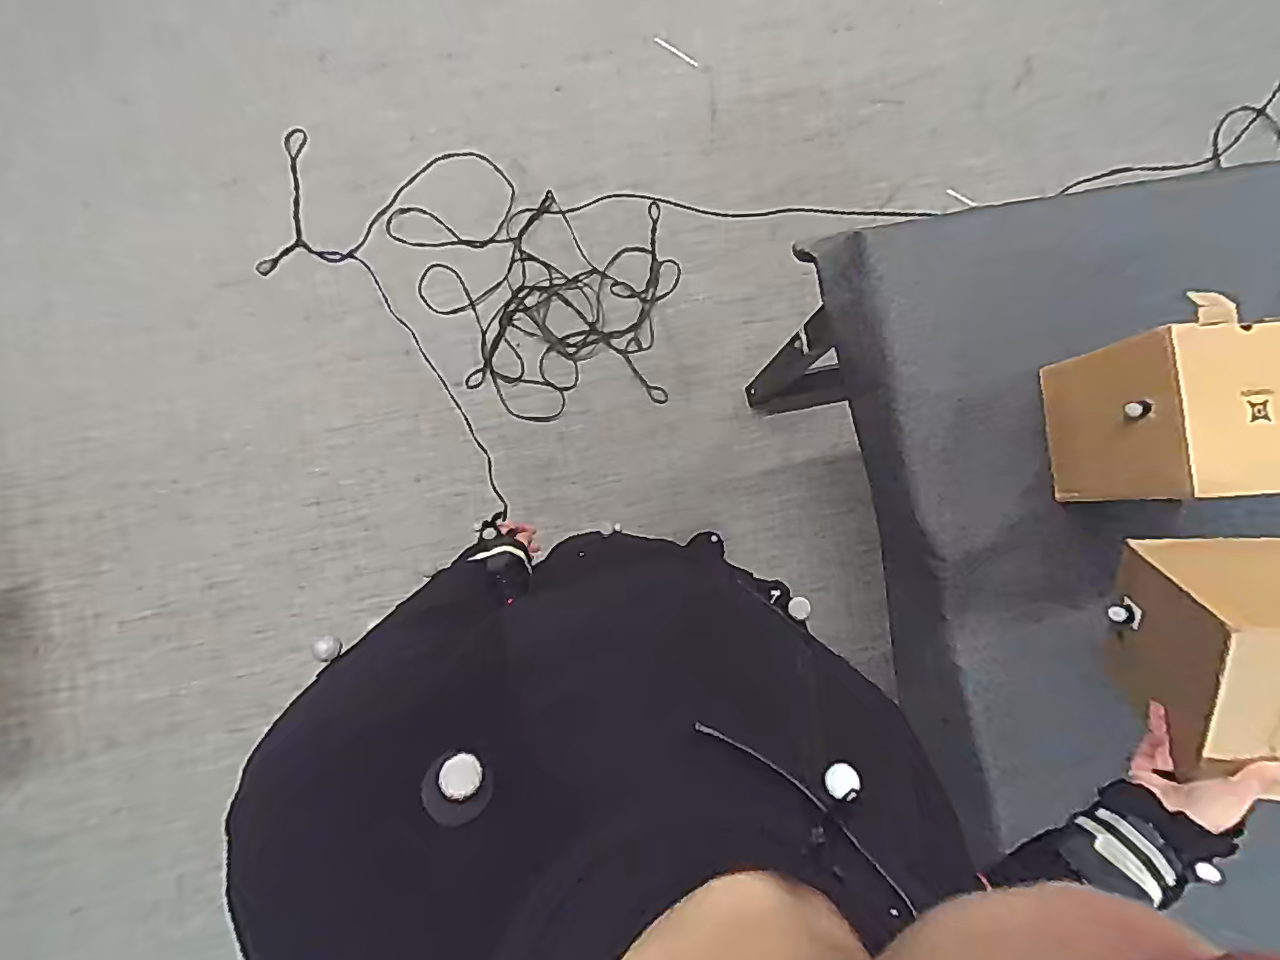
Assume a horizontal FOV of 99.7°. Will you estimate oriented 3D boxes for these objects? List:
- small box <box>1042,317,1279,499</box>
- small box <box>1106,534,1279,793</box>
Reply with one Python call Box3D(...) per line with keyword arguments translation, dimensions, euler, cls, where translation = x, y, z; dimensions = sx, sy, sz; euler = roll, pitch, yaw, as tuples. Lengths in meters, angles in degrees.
Box3D(translation=(0.604, -0.069, 0.614), dimensions=(0.168, 0.176, 0.179), euler=(-4, 85, -4), cls="small box")
Box3D(translation=(0.580, 0.156, 0.491), dimensions=(0.179, 0.176, 0.168), euler=(-3, 107, 17), cls="small box")
